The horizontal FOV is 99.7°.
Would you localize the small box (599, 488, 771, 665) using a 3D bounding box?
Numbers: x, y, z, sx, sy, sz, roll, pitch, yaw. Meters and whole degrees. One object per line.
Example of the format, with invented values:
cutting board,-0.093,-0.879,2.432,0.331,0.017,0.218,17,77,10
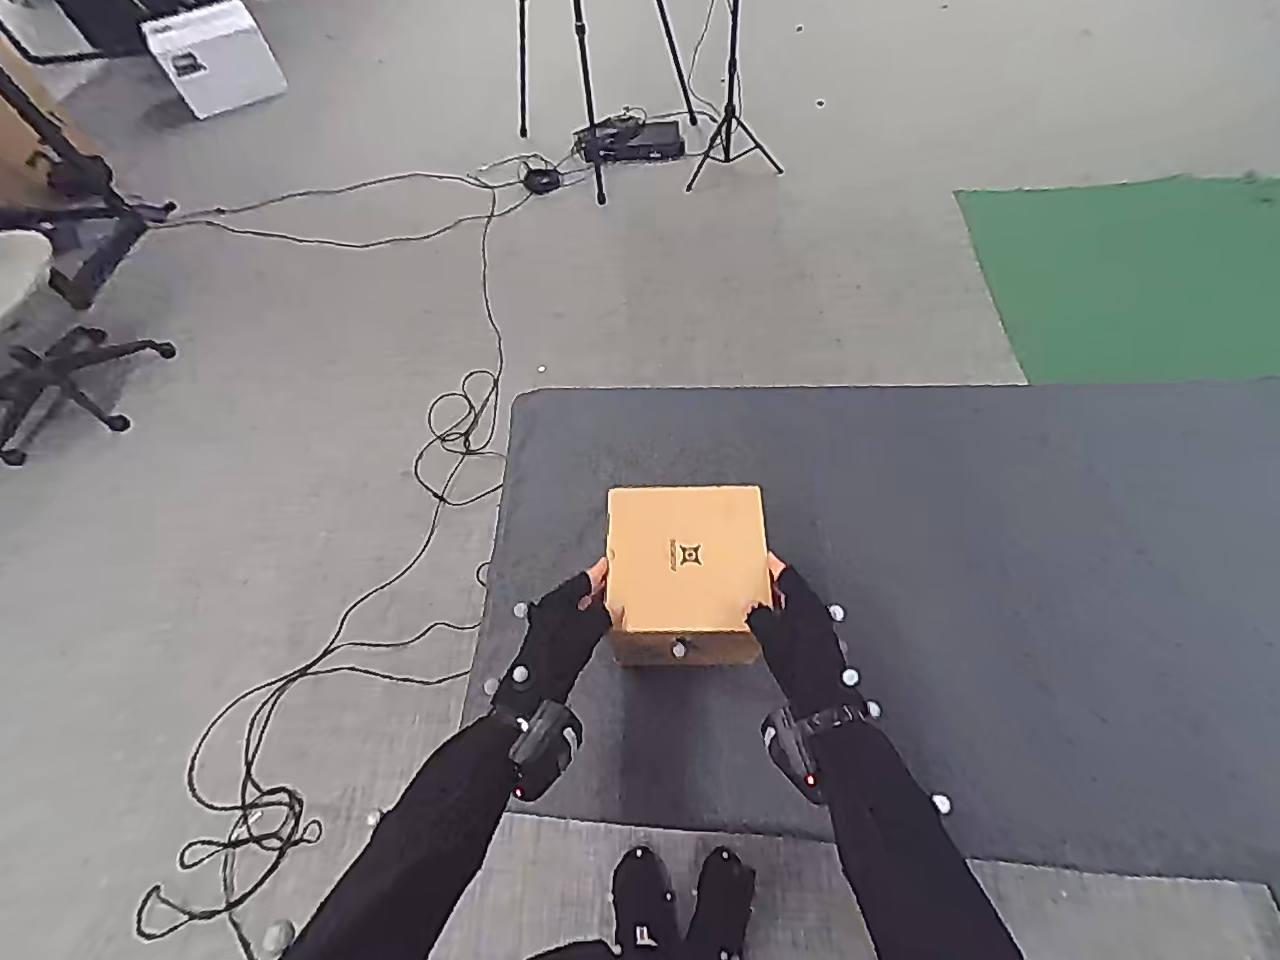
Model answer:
small box,0.050,0.121,0.650,0.179,0.176,0.168,-2,60,4
